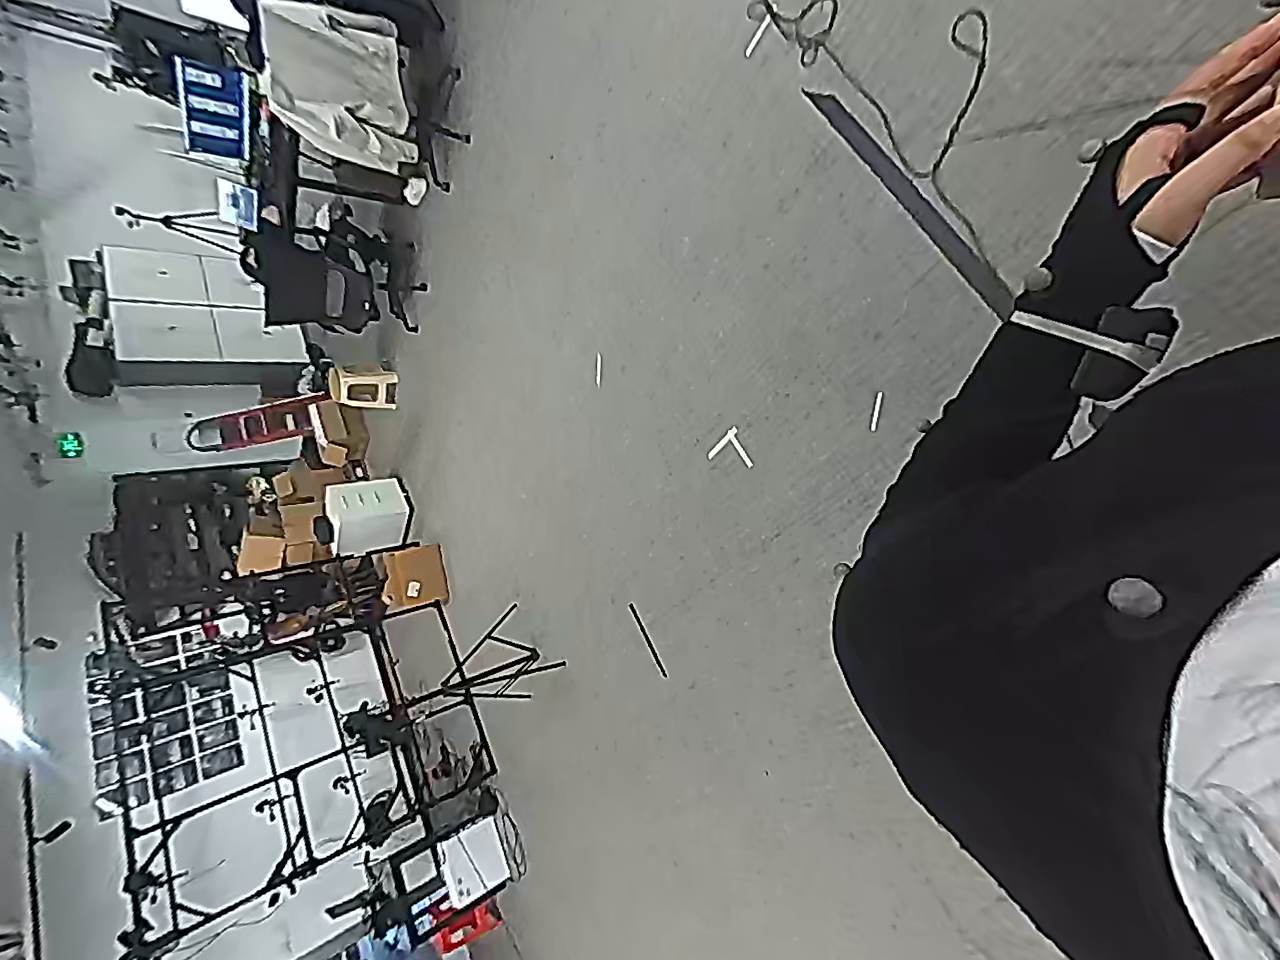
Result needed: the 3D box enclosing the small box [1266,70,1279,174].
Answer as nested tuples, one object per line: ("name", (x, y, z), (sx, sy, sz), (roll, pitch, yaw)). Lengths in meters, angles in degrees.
("small box", (0.472, -0.282, 0.285), (0.168, 0.176, 0.179), (13, 110, 46))
